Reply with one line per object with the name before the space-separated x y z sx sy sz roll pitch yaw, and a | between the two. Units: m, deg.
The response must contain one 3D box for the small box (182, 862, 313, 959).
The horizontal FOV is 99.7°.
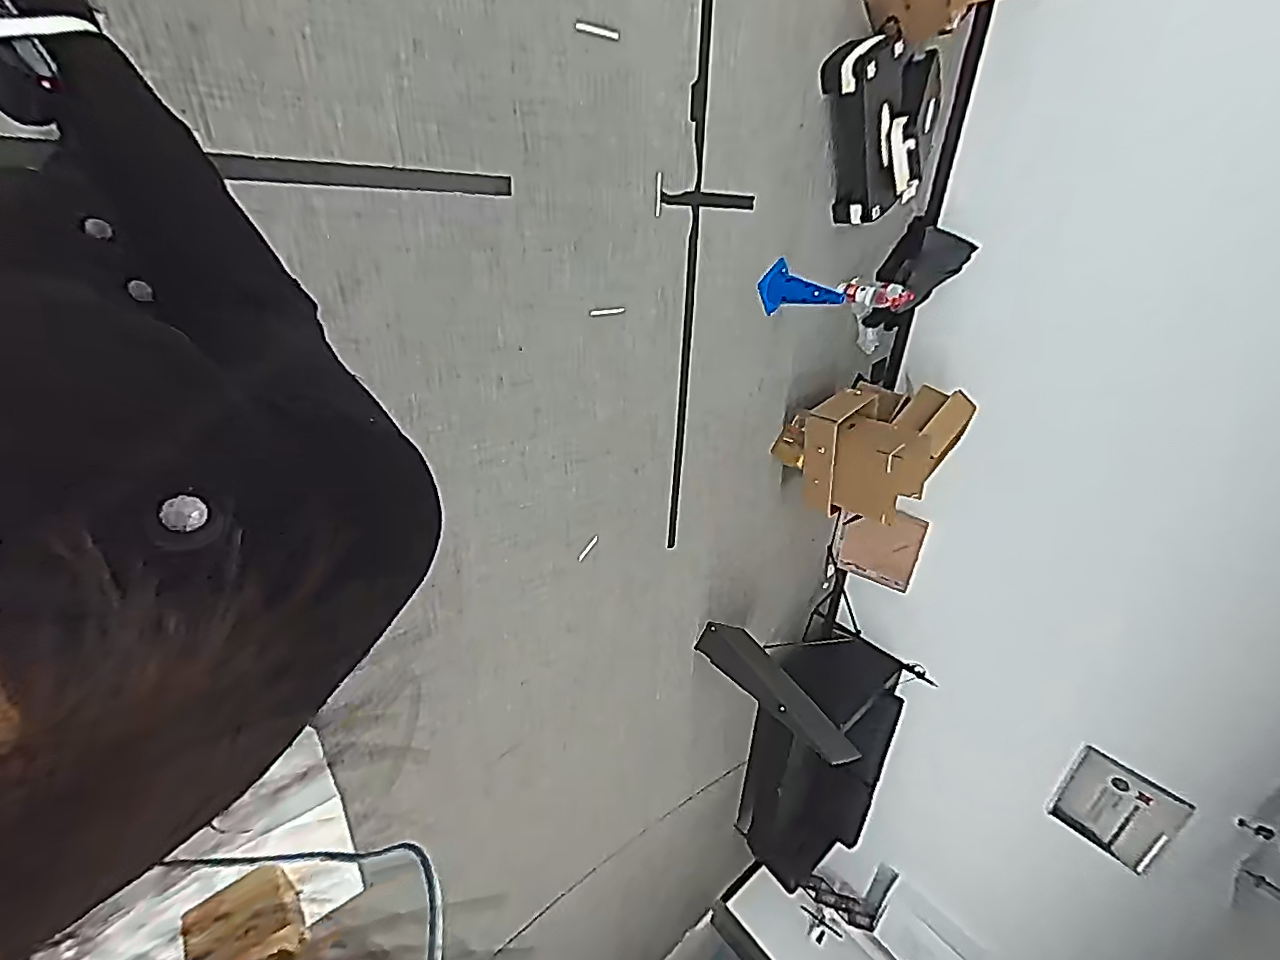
small box | -0.843 0.981 1.163 0.179 0.176 0.168 -24 127 -33
